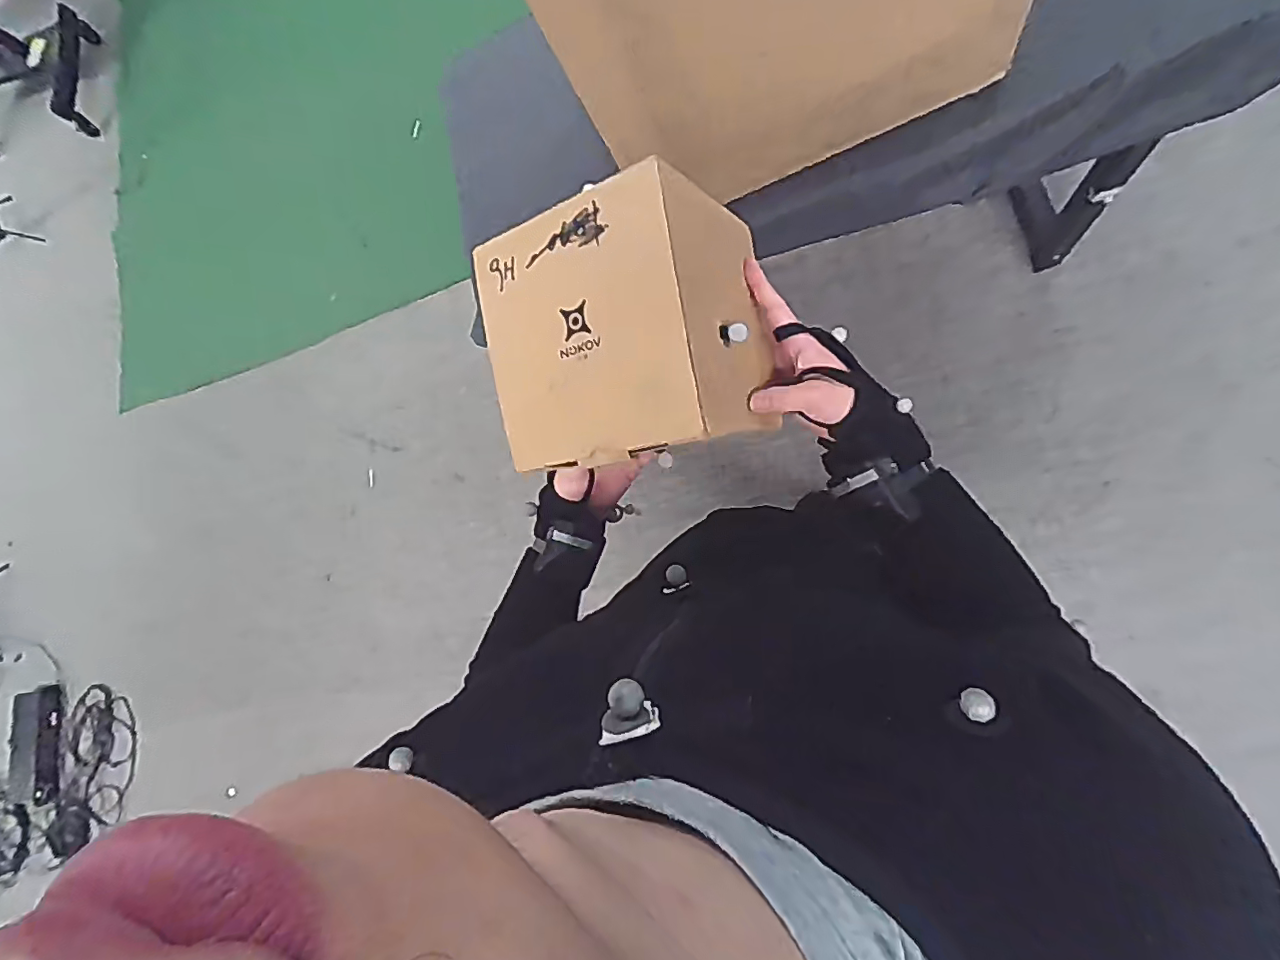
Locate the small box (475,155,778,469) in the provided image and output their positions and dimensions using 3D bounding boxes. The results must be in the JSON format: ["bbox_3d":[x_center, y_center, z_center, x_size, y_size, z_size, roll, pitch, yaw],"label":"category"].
[{"bbox_3d":[0.001,-0.116,0.440,0.168,0.176,0.179,-9,94,31],"label":"small box"}]
